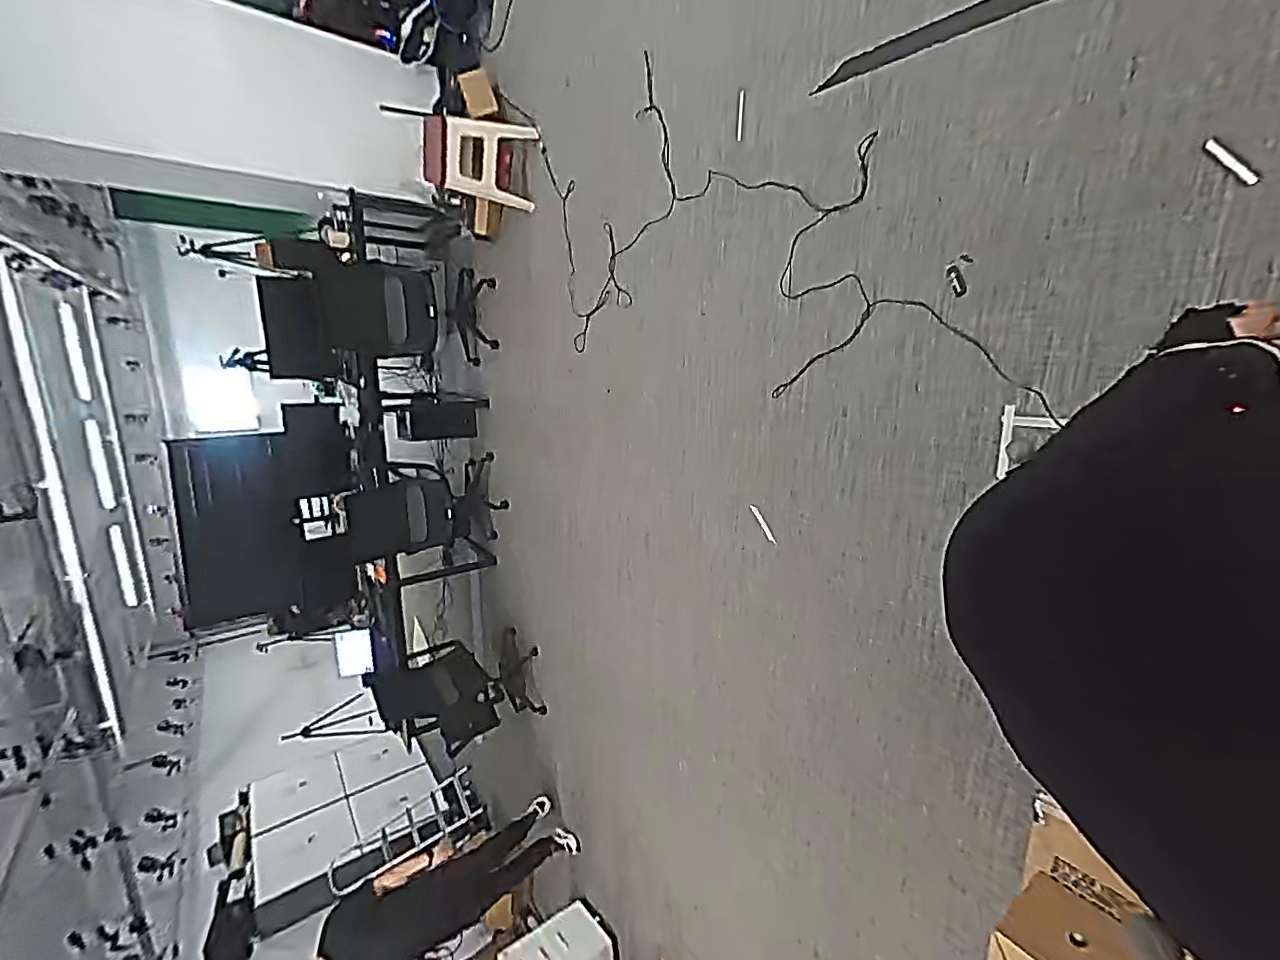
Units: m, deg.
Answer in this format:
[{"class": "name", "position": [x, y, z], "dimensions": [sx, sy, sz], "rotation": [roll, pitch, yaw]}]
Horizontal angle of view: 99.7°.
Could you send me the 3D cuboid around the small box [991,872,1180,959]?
[{"class": "small box", "position": [0.616, 0.723, 0.761], "dimensions": [0.168, 0.176, 0.179], "rotation": [16, 108, 54]}]
